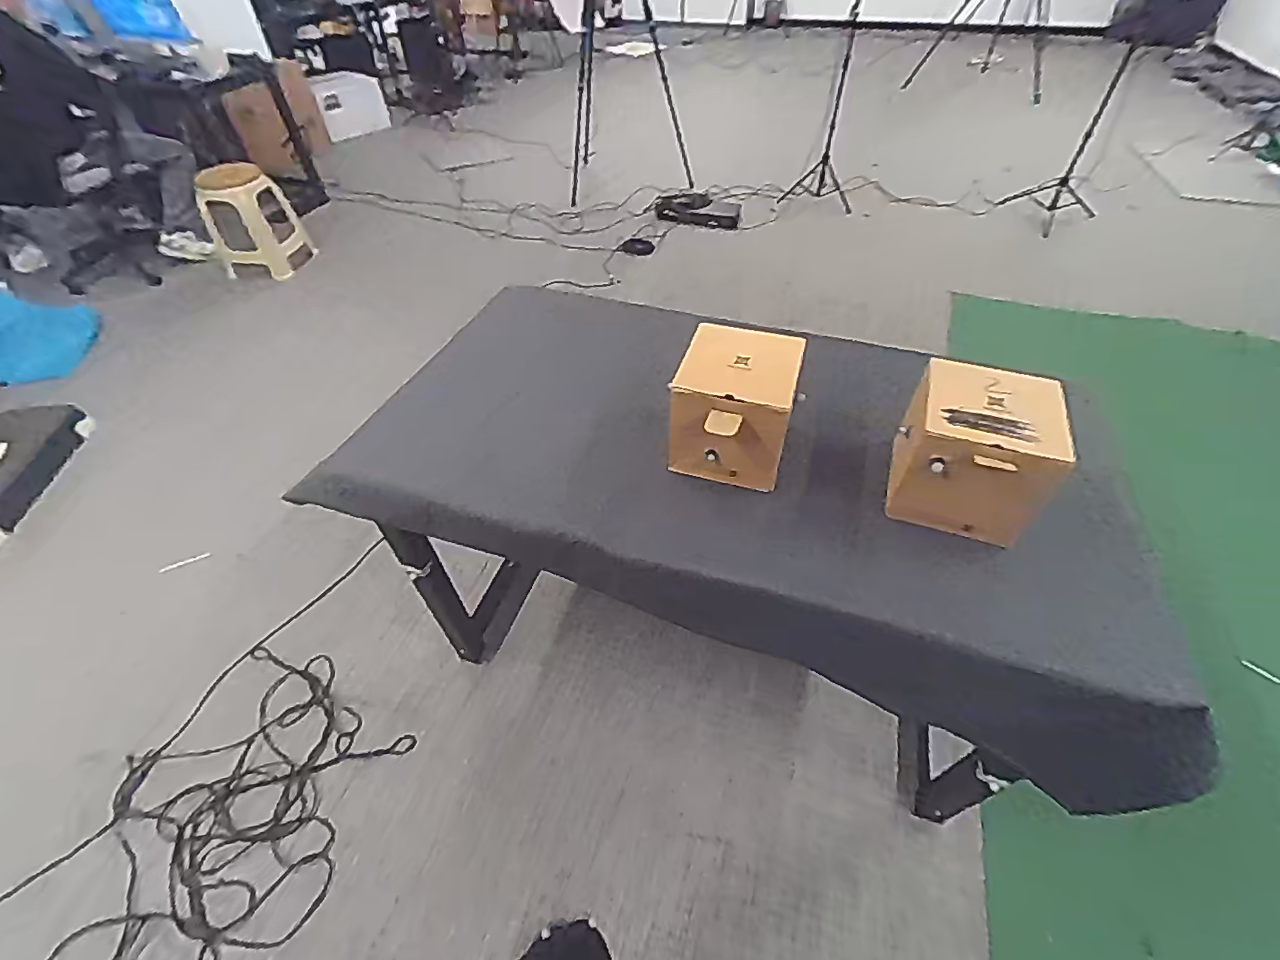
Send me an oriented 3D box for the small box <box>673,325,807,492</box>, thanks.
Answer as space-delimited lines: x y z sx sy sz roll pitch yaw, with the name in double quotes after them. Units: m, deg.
0.150 -0.111 0.839 0.168 0.176 0.179 13 49 13 "small box"
